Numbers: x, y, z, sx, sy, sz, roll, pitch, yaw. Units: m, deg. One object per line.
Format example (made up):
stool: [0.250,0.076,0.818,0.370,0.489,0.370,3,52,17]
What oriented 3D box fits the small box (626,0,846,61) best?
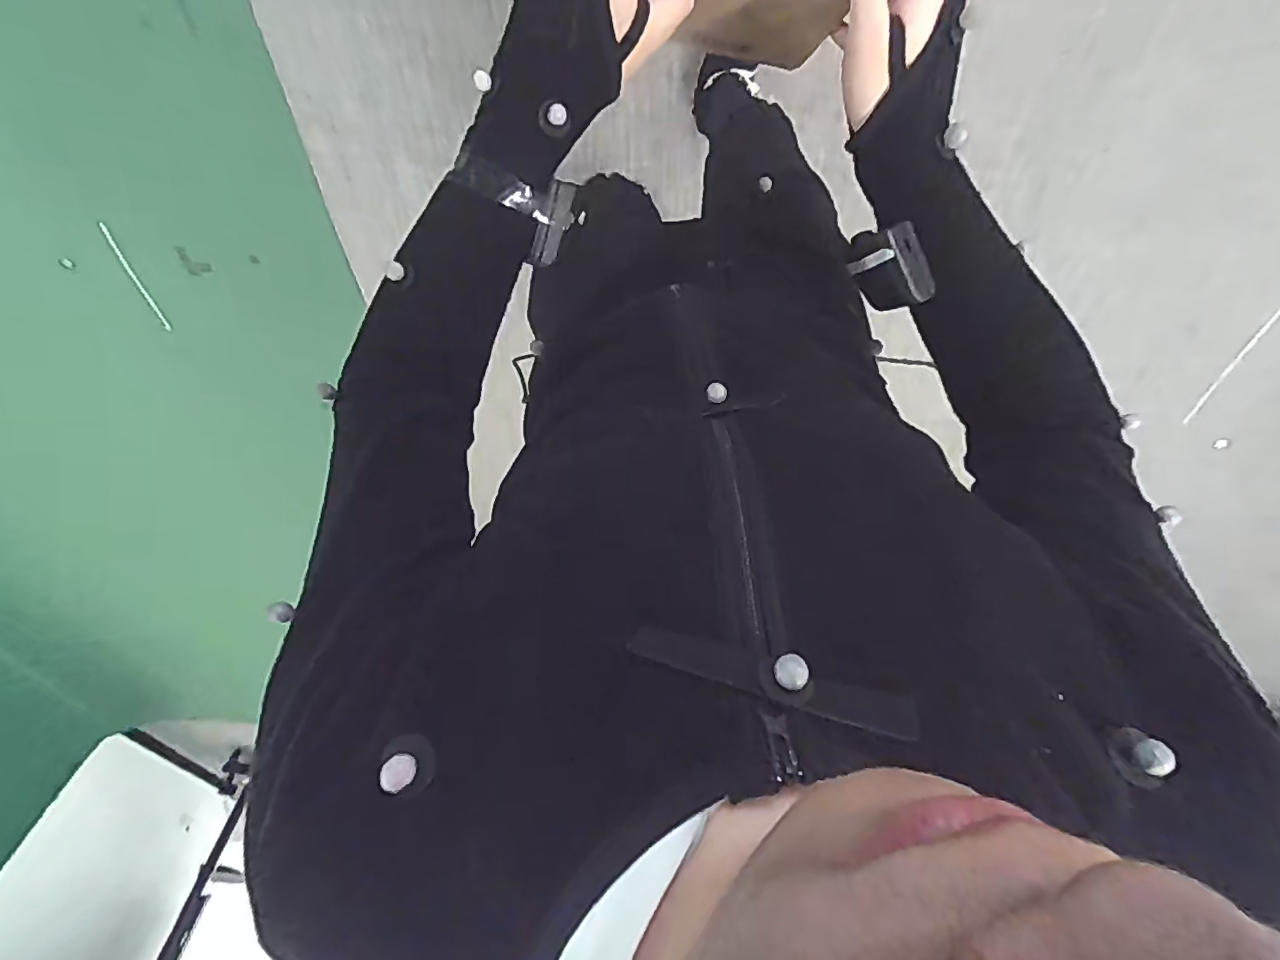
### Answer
small box: [0.082,-0.445,0.380,0.168,0.176,0.179,8,108,-6]
